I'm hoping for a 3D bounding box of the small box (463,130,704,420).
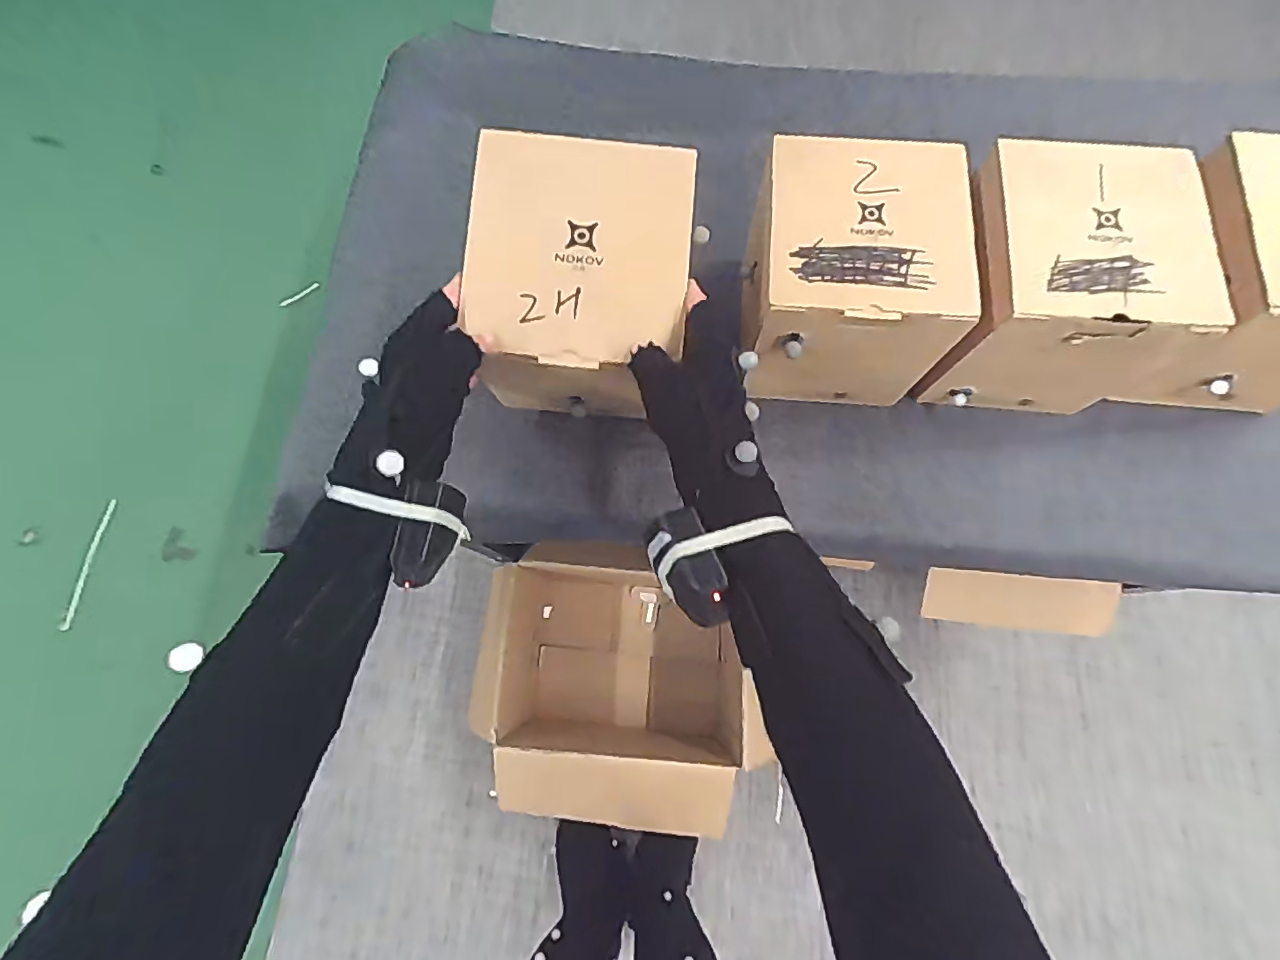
[{"bbox_3d":[-0.043,-0.163,0.480,0.168,0.176,0.179,5,84,-1],"label":"small box"}]

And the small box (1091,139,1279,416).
[{"bbox_3d":[0.577,-0.179,0.513,0.168,0.176,0.179,5,75,3],"label":"small box"}]
